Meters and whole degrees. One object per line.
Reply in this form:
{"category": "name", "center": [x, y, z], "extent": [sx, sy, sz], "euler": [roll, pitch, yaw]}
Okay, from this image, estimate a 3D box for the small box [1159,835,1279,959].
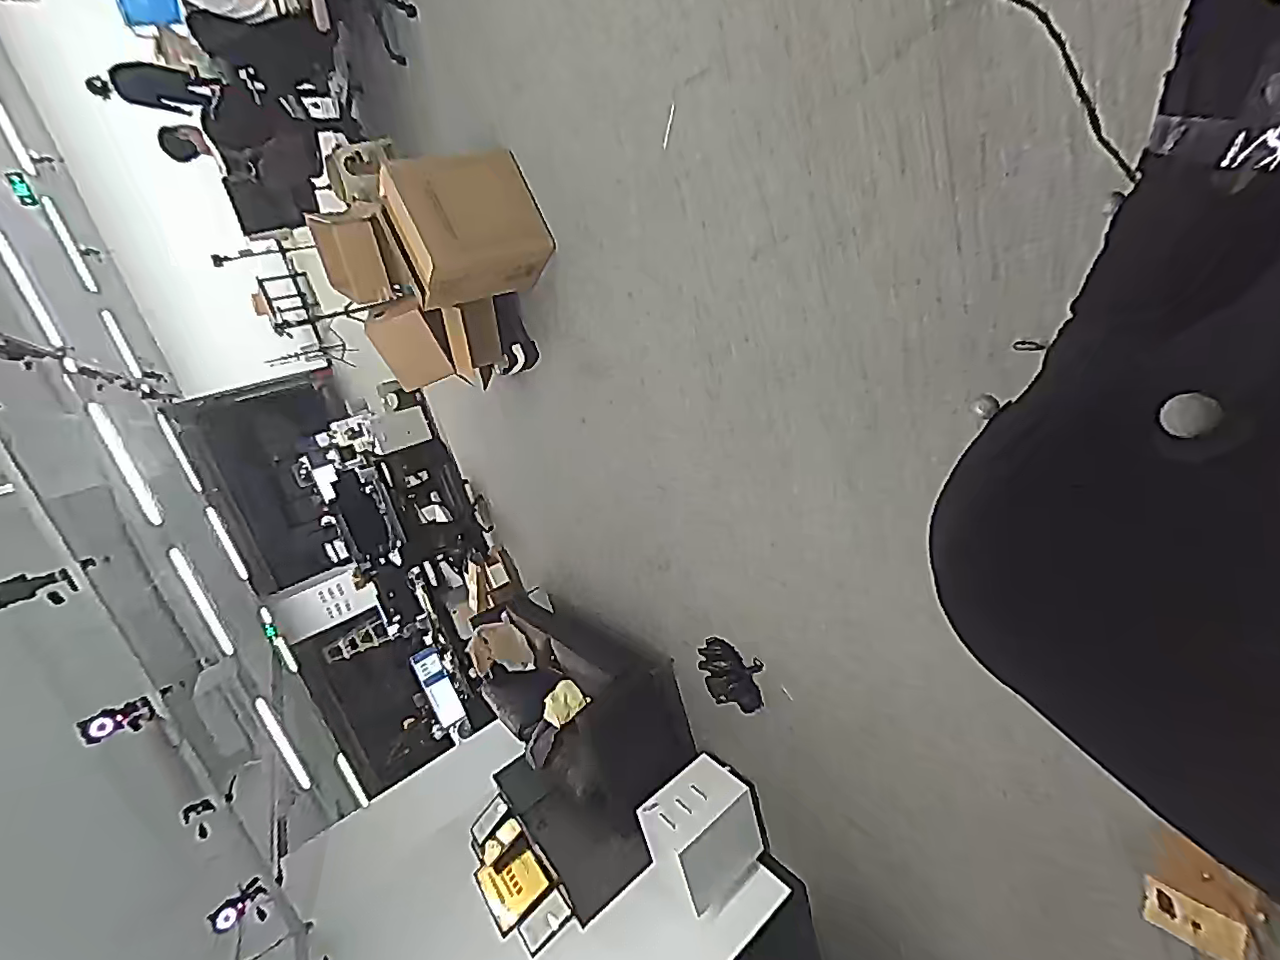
{"category": "small box", "center": [1.411, 1.014, 1.316], "extent": [0.179, 0.176, 0.168], "euler": [6, 117, 57]}
